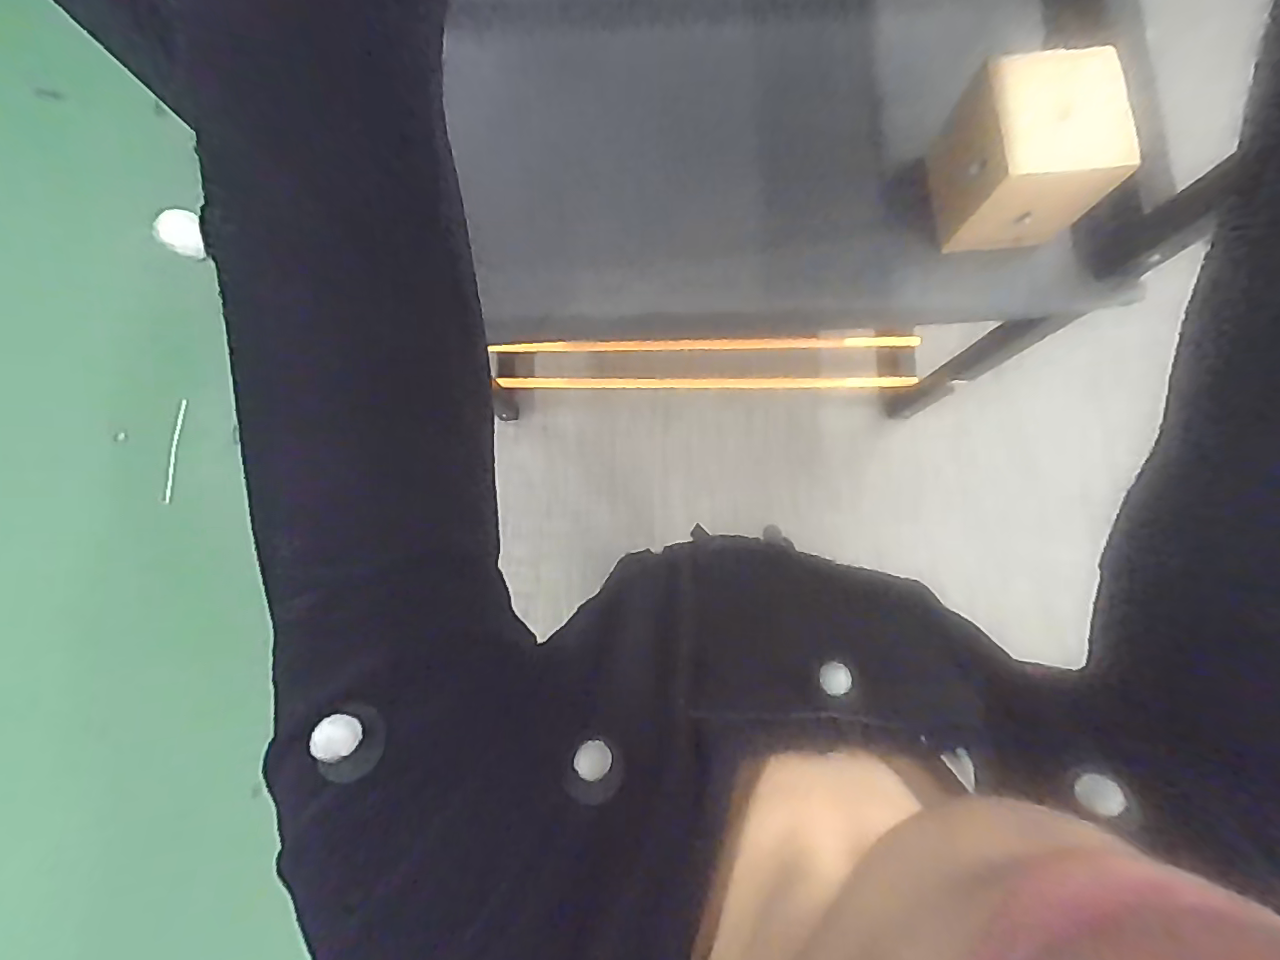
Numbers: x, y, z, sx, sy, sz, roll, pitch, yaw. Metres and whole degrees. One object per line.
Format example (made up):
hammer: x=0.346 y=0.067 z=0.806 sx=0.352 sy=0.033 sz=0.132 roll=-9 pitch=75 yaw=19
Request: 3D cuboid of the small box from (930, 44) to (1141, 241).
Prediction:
small box: x=0.541 y=-0.460 z=0.766 sx=0.168 sy=0.176 sz=0.179 roll=-4 pitch=80 yaw=1
